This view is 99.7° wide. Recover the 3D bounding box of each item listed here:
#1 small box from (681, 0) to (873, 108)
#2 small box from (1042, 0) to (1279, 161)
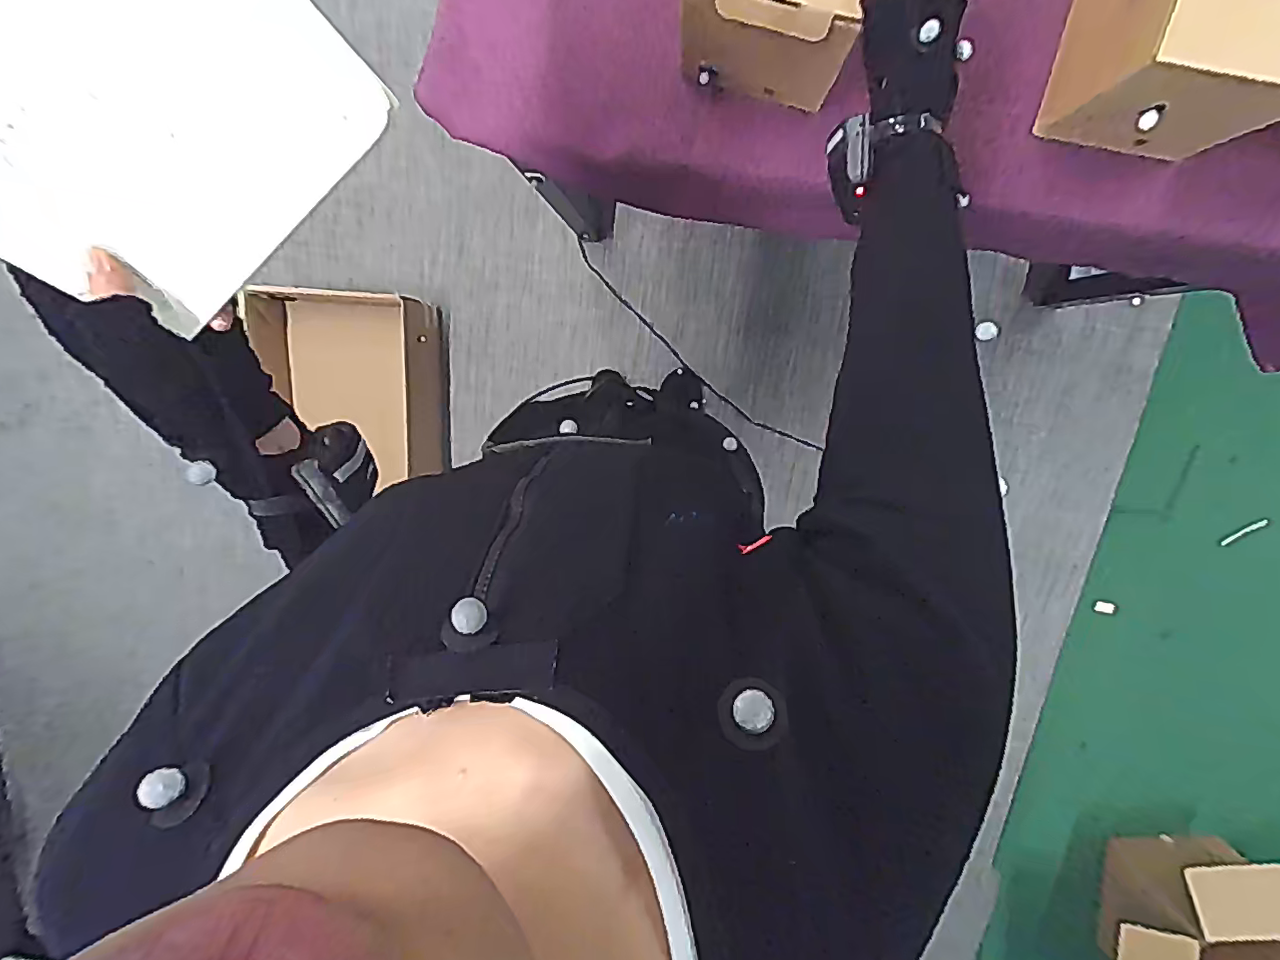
[{"bbox_3d":[0.142,-0.501,0.520,0.168,0.176,0.179,16,103,-1],"label":"small box"},{"bbox_3d":[0.533,-0.431,0.512,0.168,0.176,0.179,12,105,1],"label":"small box"}]
